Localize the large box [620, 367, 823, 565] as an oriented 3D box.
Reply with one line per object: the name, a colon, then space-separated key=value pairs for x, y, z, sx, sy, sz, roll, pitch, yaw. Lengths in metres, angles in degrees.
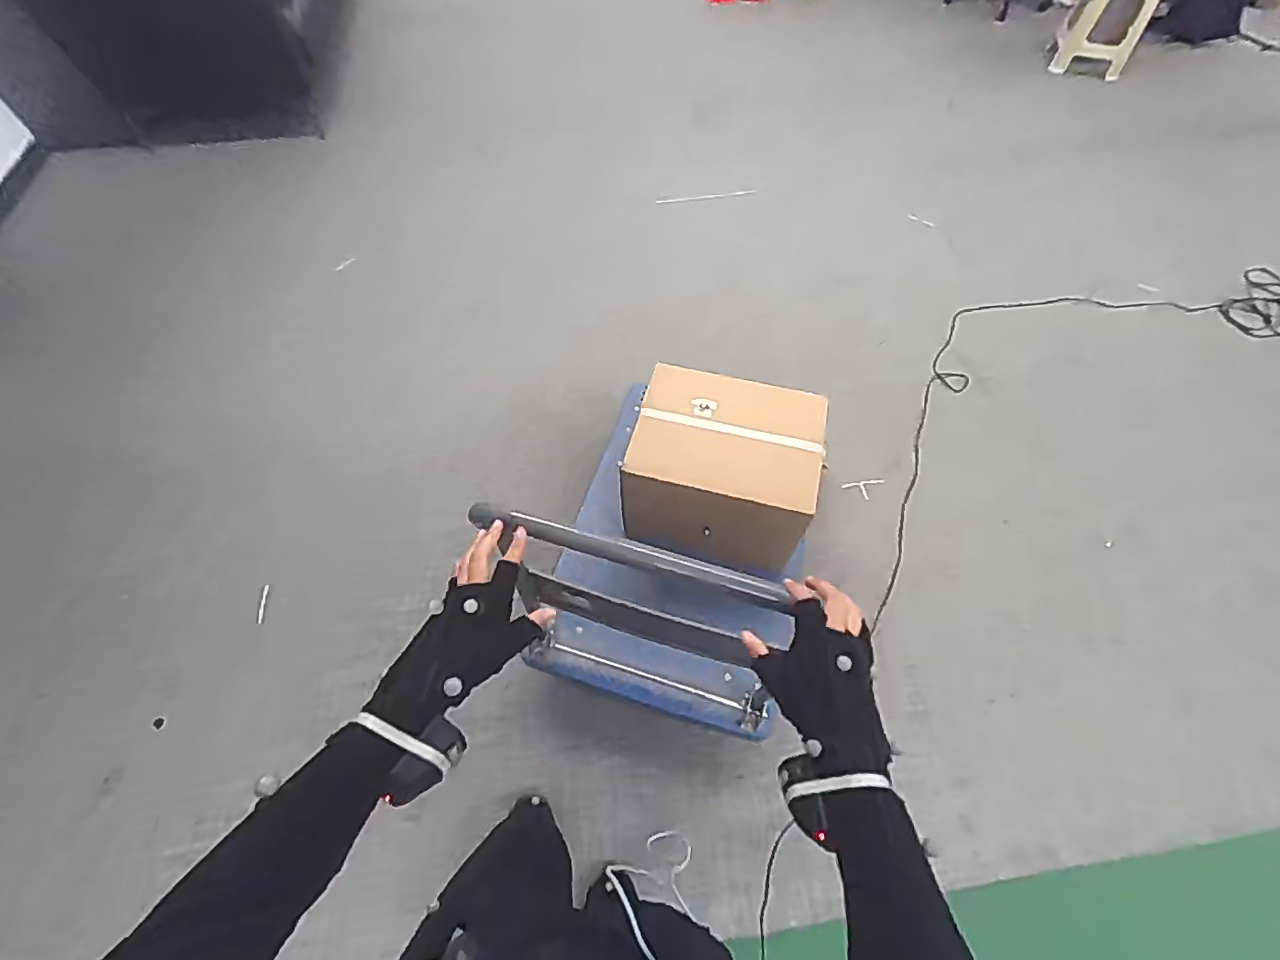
large box: x=0.192 y=-0.026 z=1.303 sx=0.408 sy=0.320 sz=0.320 roll=12 pitch=59 yaw=9
